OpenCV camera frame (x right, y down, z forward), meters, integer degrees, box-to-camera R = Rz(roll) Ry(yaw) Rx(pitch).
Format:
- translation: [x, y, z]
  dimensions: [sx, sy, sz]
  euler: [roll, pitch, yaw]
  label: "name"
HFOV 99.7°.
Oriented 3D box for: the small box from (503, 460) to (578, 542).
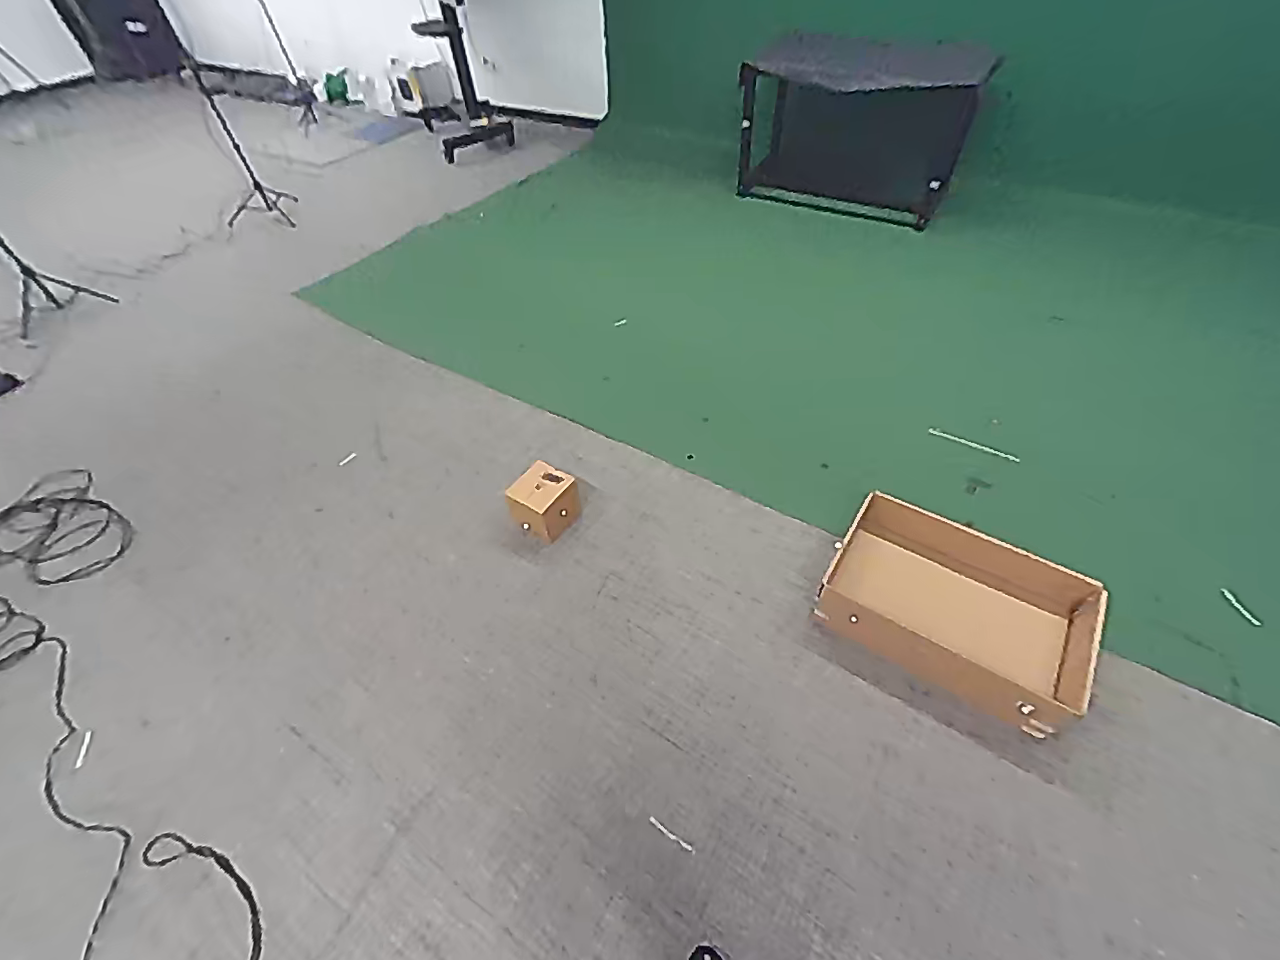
- translation: [-0.320, 0.070, 1.789]
  dimensions: [0.168, 0.176, 0.179]
  euler: [26, 56, 24]
  label: "small box"
